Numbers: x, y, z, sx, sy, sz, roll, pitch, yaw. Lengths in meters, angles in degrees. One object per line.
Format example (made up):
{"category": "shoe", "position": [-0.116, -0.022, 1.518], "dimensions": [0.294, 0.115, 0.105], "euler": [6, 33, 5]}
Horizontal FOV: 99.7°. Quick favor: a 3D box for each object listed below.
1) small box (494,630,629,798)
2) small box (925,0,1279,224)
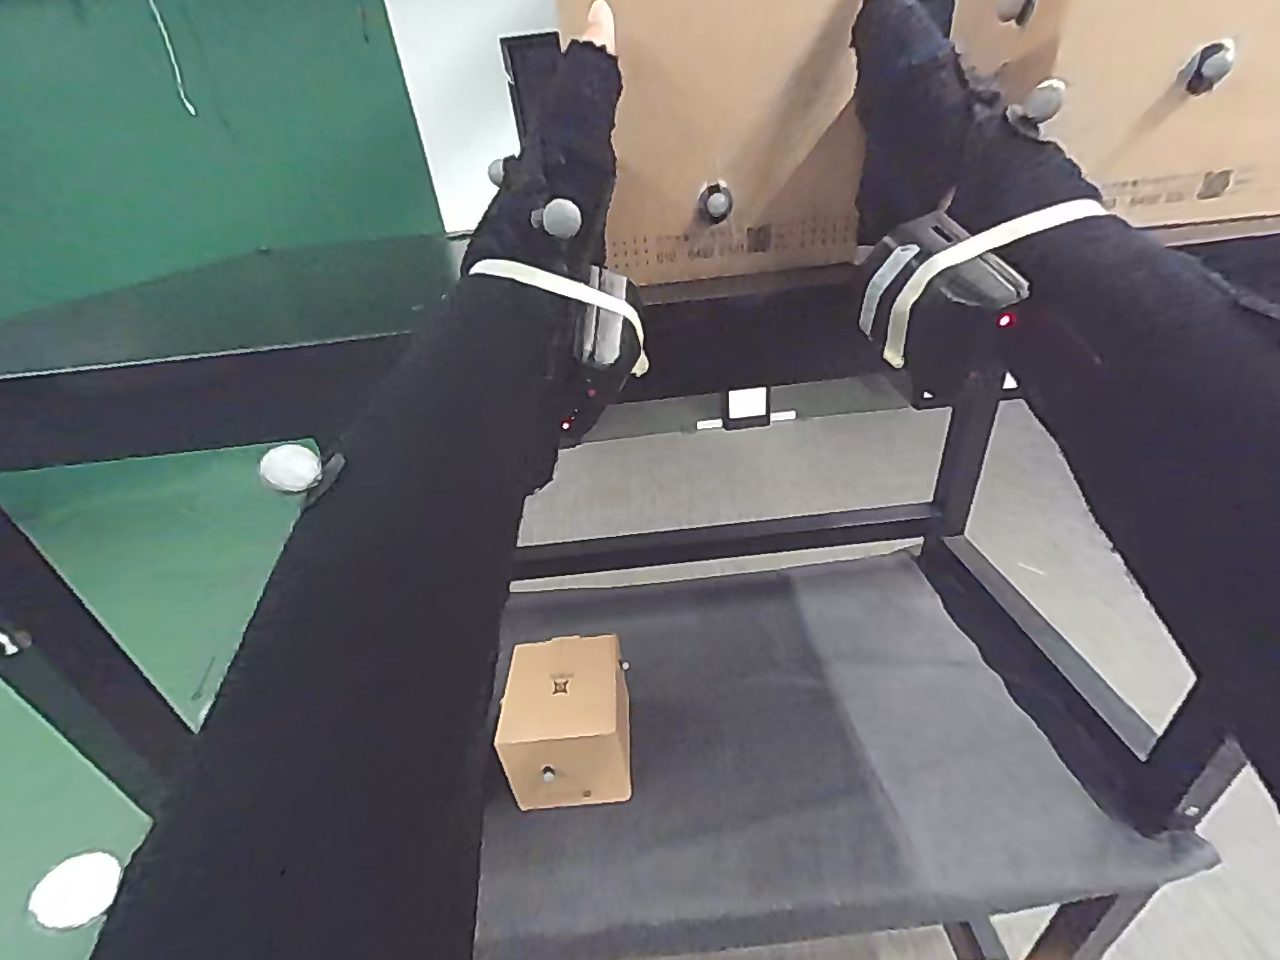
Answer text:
{"category": "small box", "position": [-0.108, 0.359, 0.824], "dimensions": [0.168, 0.176, 0.179], "euler": [-6, 30, 1]}
{"category": "small box", "position": [0.315, -0.275, 0.364], "dimensions": [0.168, 0.176, 0.179], "euler": [-1, 31, 9]}
